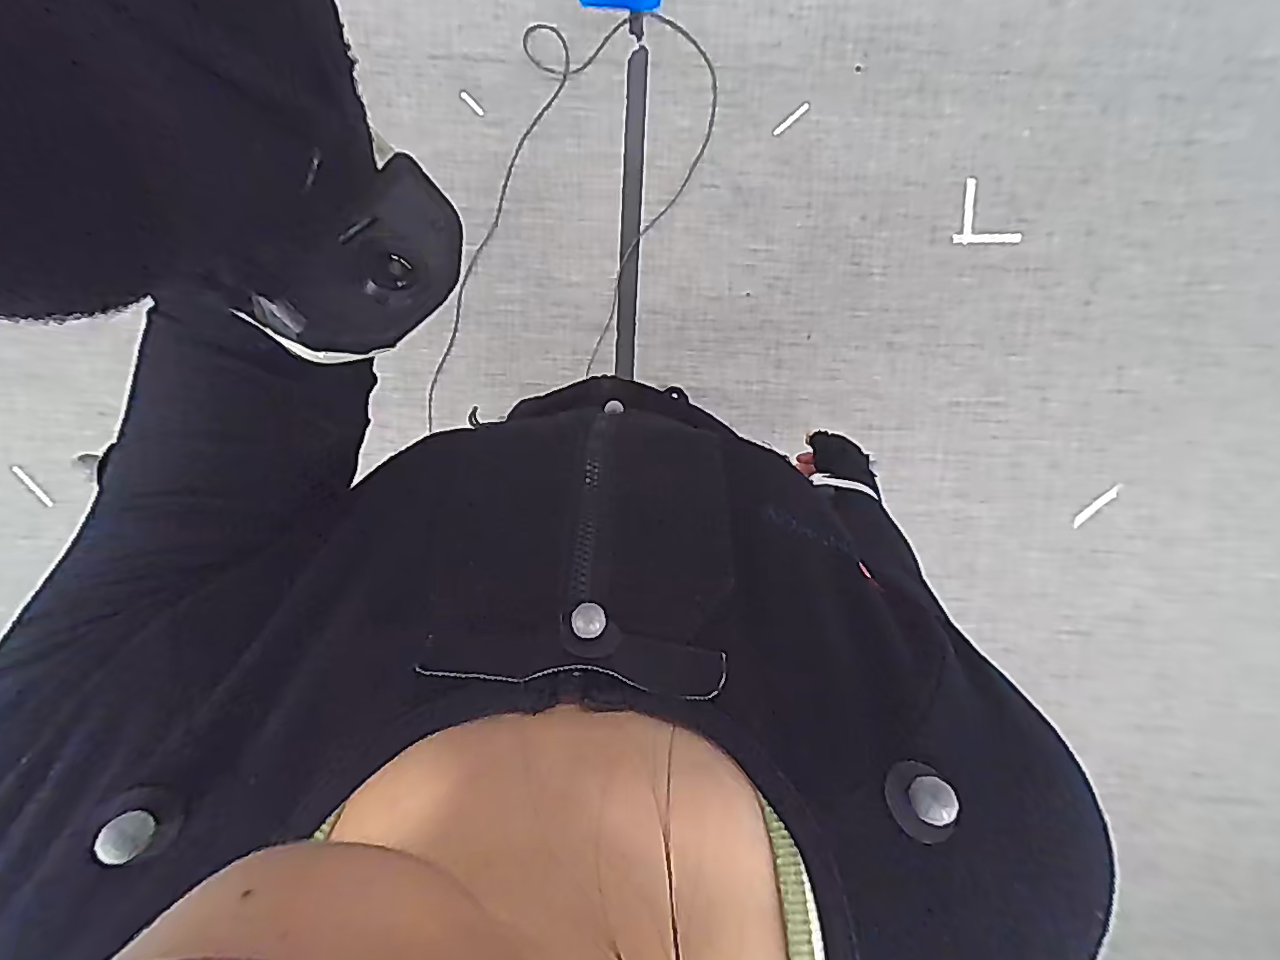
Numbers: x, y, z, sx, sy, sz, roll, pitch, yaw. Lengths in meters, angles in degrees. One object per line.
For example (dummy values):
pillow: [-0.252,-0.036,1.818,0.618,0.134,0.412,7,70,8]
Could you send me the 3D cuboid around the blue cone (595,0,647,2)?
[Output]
blue cone: [-0.044,-1.199,1.103,0.193,0.380,0.192,1,99,0]
